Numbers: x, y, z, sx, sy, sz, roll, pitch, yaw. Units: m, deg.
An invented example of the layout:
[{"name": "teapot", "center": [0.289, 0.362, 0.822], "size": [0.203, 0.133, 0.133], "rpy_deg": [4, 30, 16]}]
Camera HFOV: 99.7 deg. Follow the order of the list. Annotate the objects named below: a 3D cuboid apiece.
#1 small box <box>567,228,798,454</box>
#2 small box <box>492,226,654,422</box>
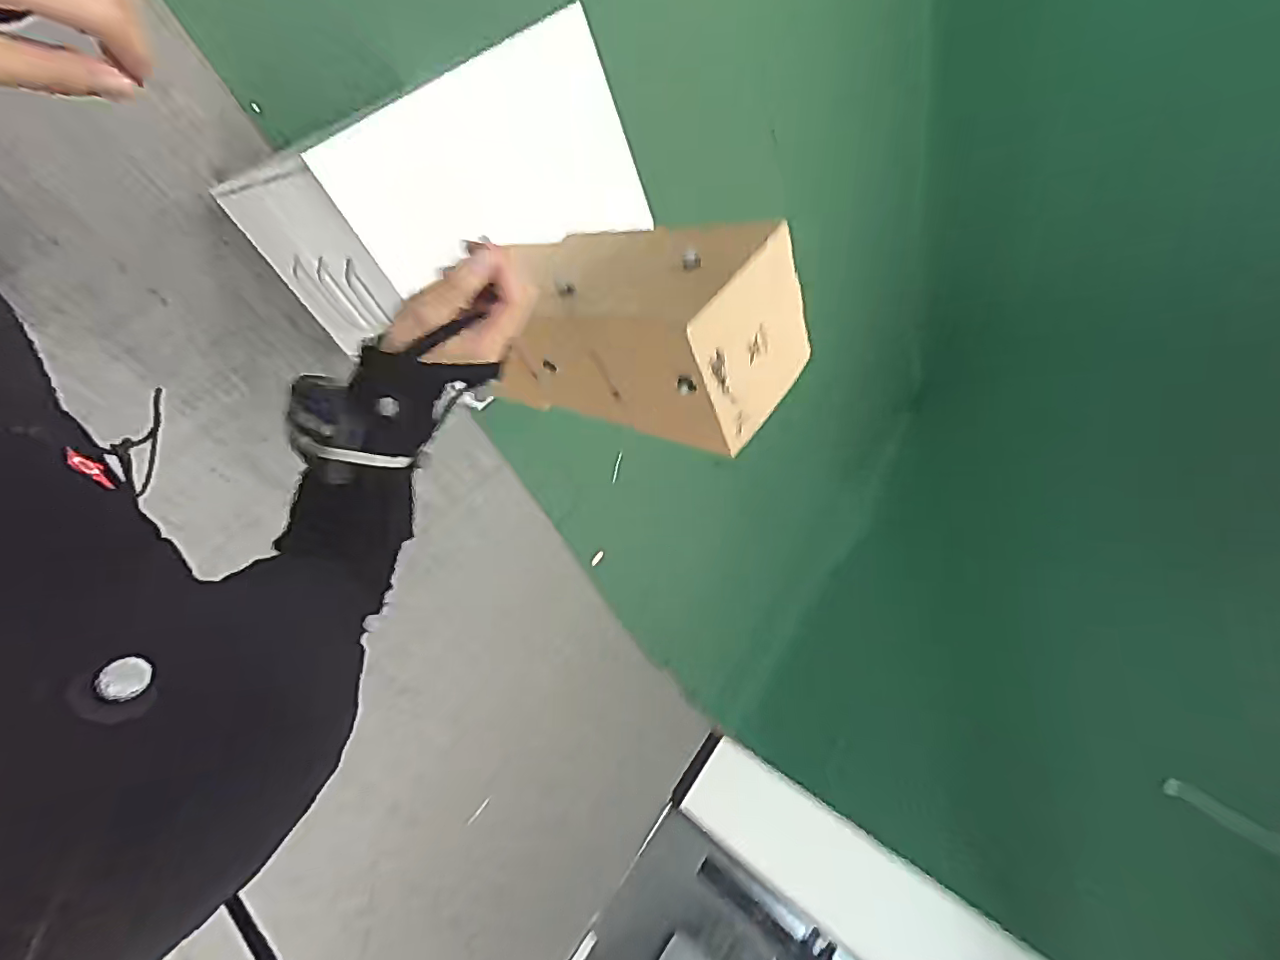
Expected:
[{"name": "small box", "center": [0.052, -0.160, 0.605], "size": [0.179, 0.176, 0.168], "rpy_deg": [-51, 137, -23]}, {"name": "small box", "center": [-0.066, -0.206, 0.707], "size": [0.179, 0.176, 0.168], "rpy_deg": [-52, 138, -20]}]
